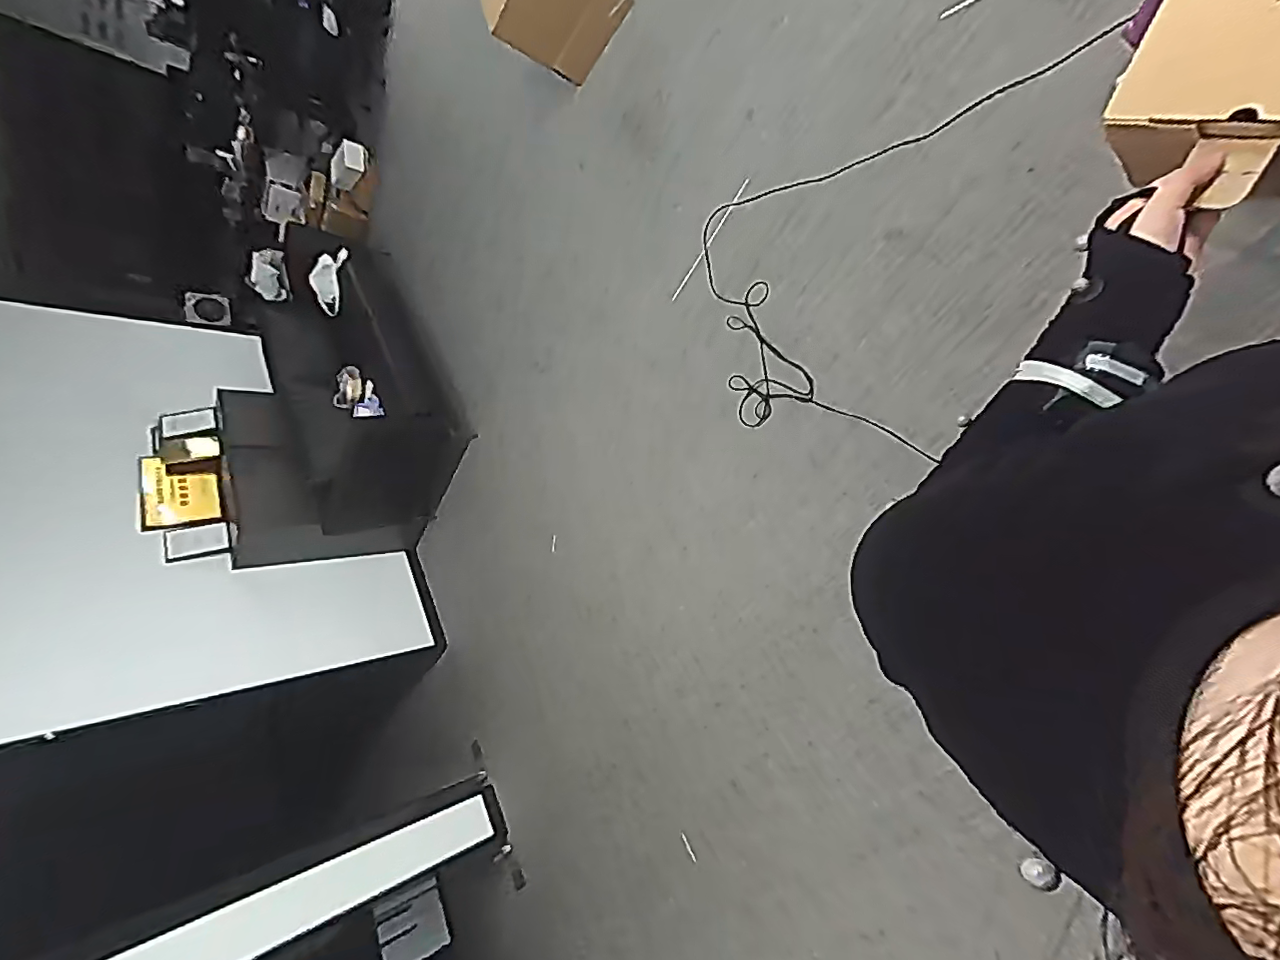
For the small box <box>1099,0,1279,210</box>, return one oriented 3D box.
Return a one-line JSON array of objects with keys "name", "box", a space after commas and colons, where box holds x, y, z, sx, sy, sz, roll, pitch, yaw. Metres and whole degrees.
[{"name": "small box", "box": [0.496, -0.322, 0.401, 0.168, 0.176, 0.179, 38, 120, 41]}]
